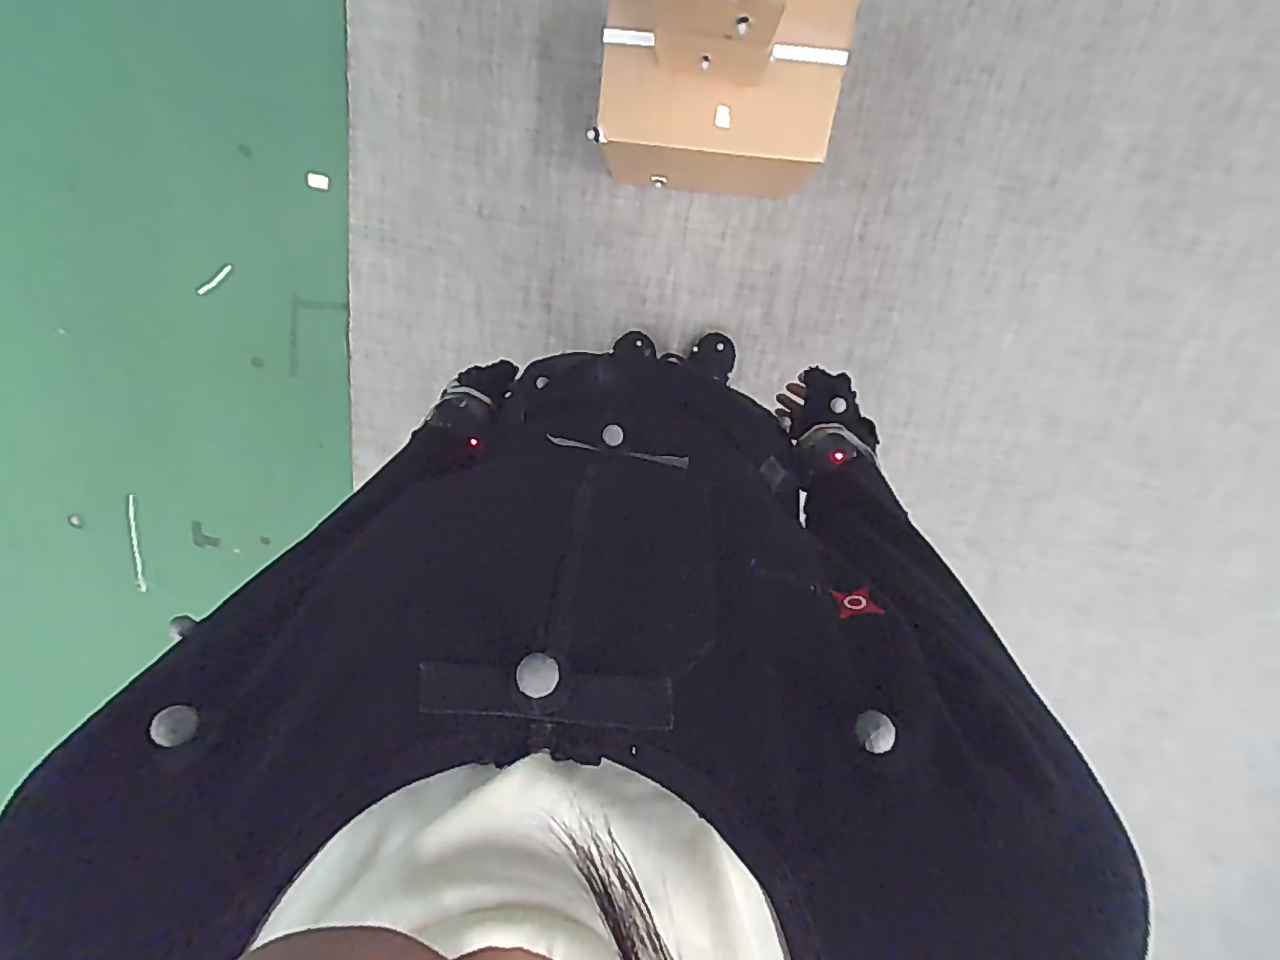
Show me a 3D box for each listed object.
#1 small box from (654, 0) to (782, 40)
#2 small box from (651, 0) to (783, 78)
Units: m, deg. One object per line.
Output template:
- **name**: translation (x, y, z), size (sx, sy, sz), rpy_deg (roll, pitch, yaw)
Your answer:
- **small box**: translation (0.108, -0.676, 0.655), size (0.168, 0.176, 0.179), rpy_deg (9, 112, -1)
- **small box**: translation (0.122, -0.732, 0.803), size (0.179, 0.176, 0.168), rpy_deg (14, 111, -1)
